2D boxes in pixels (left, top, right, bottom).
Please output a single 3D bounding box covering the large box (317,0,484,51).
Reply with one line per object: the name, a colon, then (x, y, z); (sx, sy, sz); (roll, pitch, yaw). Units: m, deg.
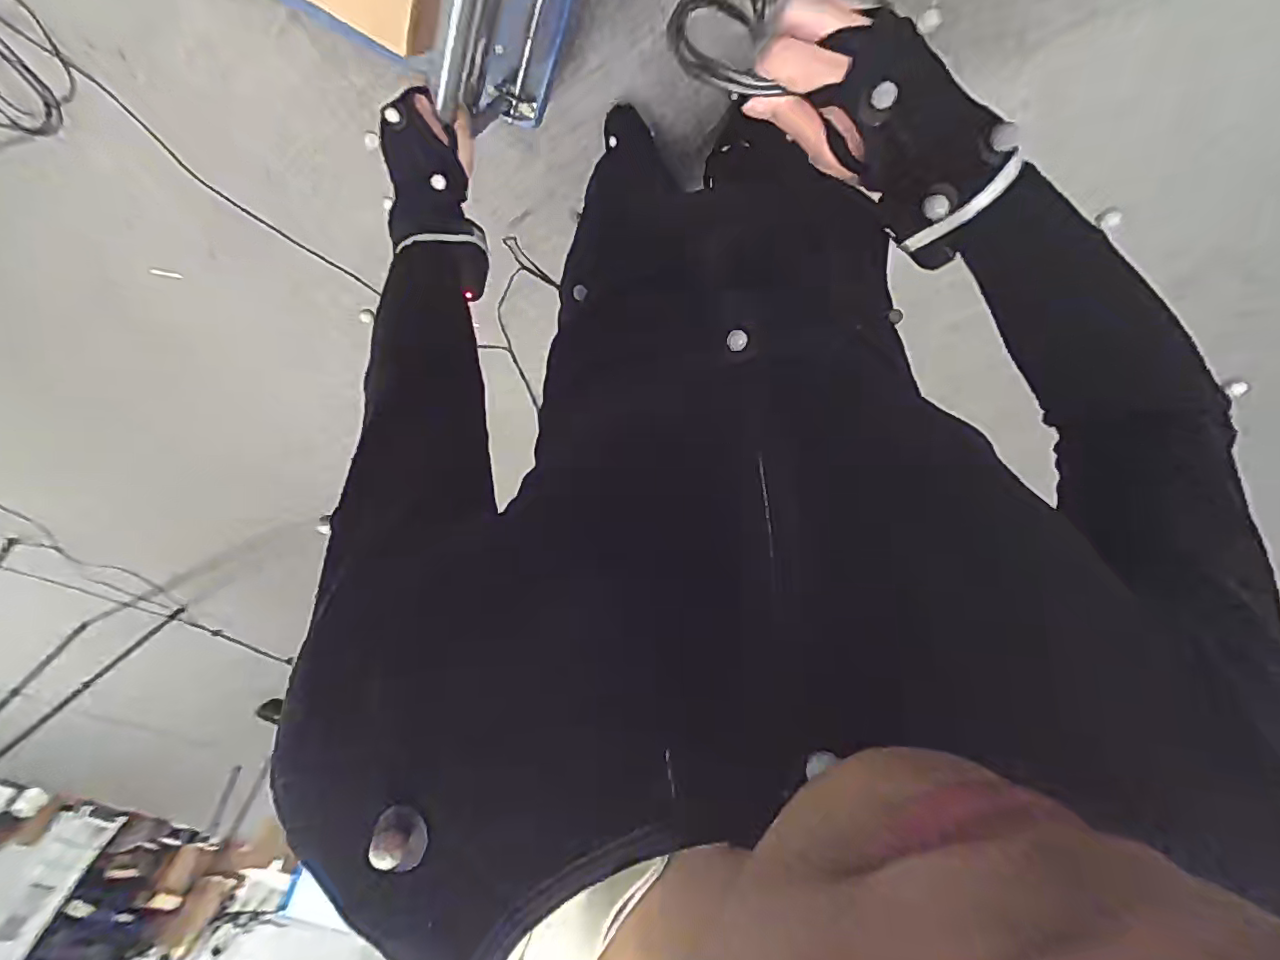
large box: (-0.431, -0.911, 0.770); (0.408, 0.320, 0.320); (25, 131, -15)
